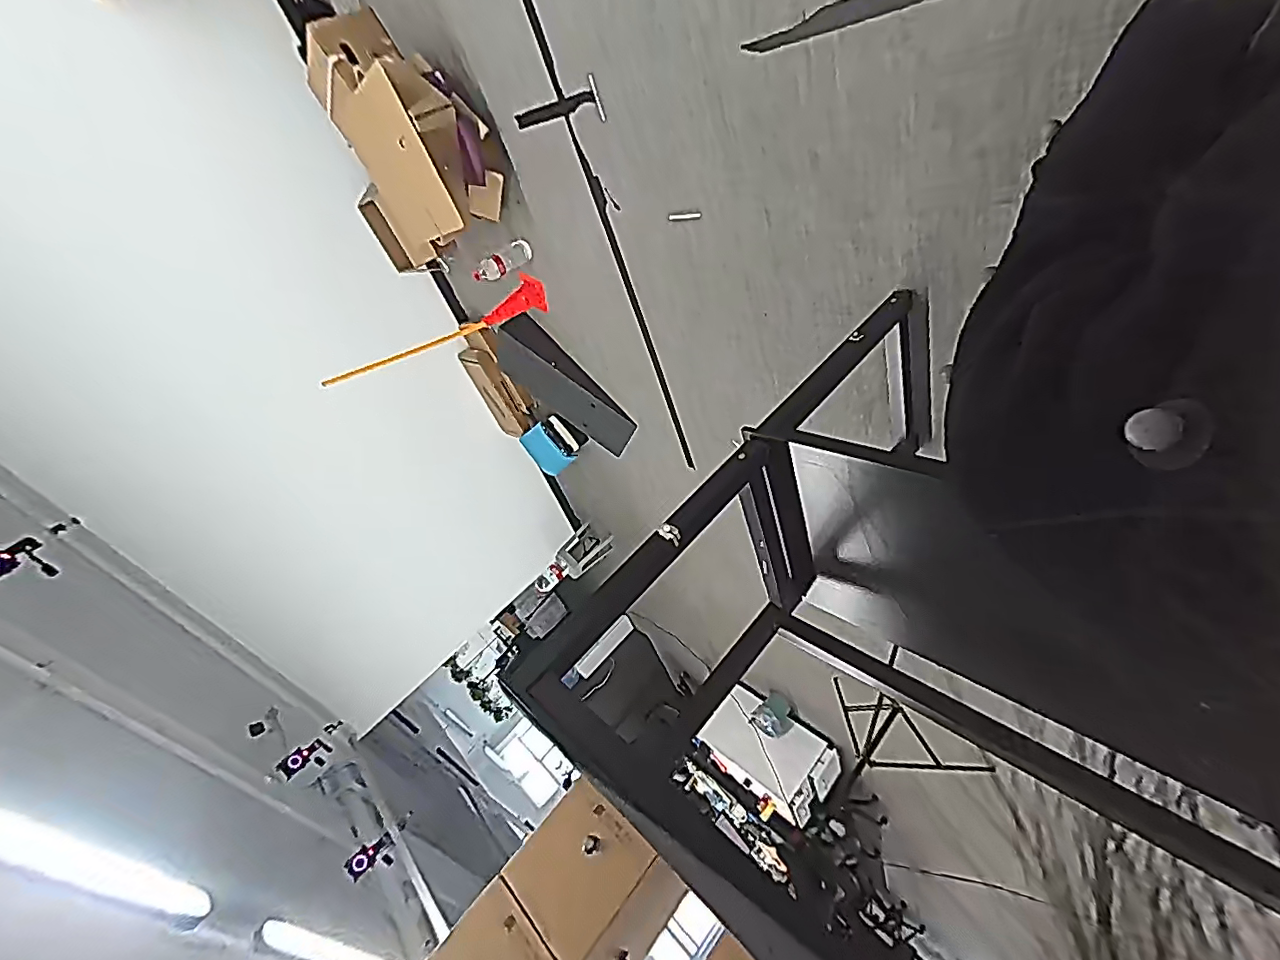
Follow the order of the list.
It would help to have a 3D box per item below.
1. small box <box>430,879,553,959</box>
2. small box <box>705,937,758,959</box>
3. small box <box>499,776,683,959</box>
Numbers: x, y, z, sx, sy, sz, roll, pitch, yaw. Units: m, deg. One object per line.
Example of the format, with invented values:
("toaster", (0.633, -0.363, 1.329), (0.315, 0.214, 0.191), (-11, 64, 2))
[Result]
("small box", (-0.171, 0.675, 0.711), (0.168, 0.176, 0.179), (24, 147, 42))
("small box", (0.122, 0.648, 0.584), (0.168, 0.176, 0.179), (23, 148, 44))
("small box", (-0.061, 0.573, 0.775), (0.168, 0.176, 0.179), (22, 146, 42))
